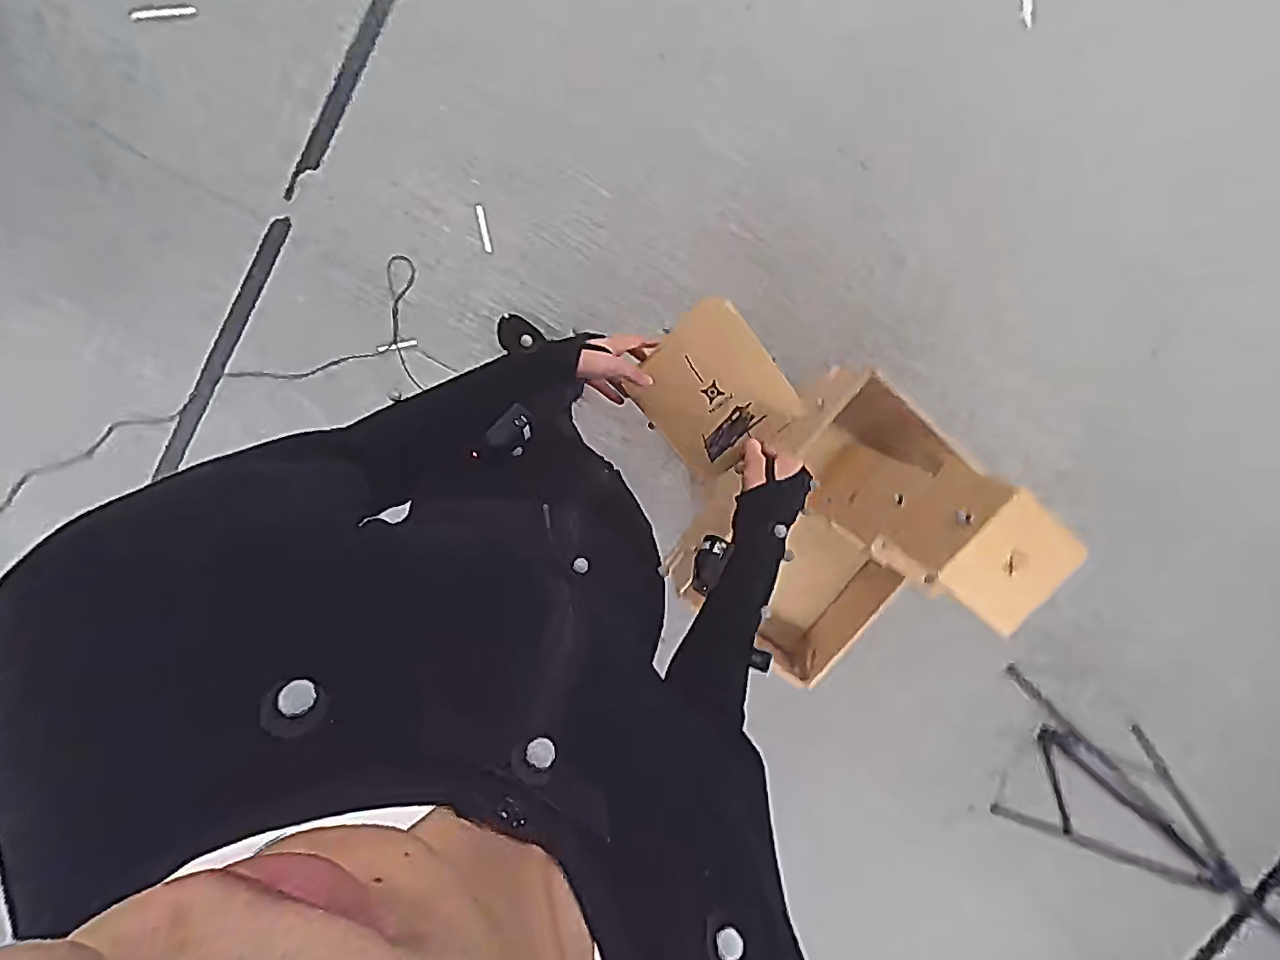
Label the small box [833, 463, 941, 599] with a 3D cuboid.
[{"bbox_3d":[0.509,0.087,1.027,0.179,0.176,0.168,35,98,-13],"label":"small box"}]

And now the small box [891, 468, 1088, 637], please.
[{"bbox_3d":[0.538,0.107,0.866,0.168,0.176,0.179,38,98,-13],"label":"small box"}]

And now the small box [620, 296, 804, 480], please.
[{"bbox_3d":[0.092,-0.135,0.742,0.168,0.176,0.179,-38,105,12],"label":"small box"}]
